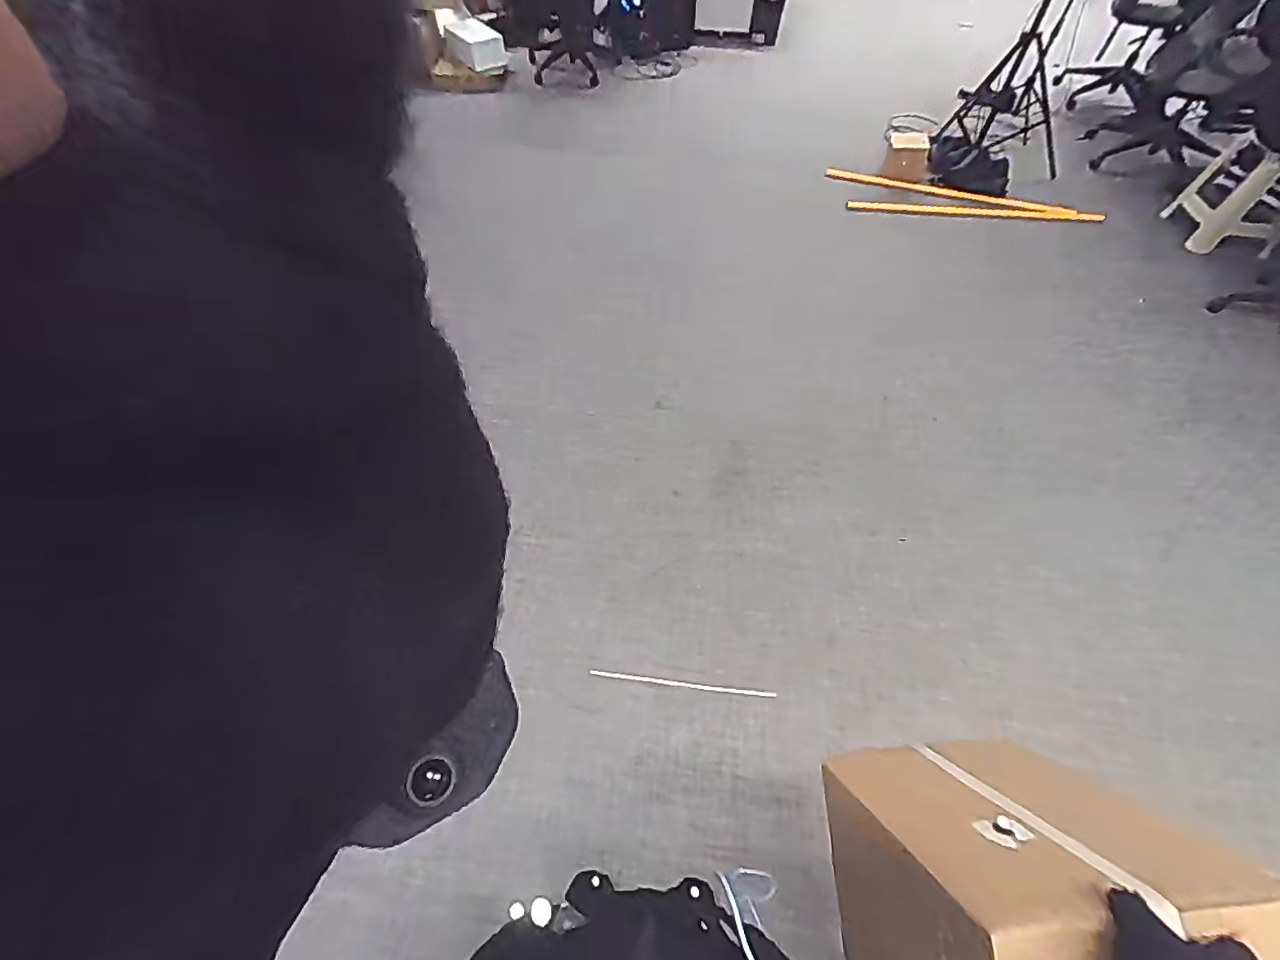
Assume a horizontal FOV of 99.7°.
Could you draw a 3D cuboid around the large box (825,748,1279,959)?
[{"bbox_3d":[0.452,0.554,0.634,0.320,0.408,0.320,-3,83,-3],"label":"large box"}]
